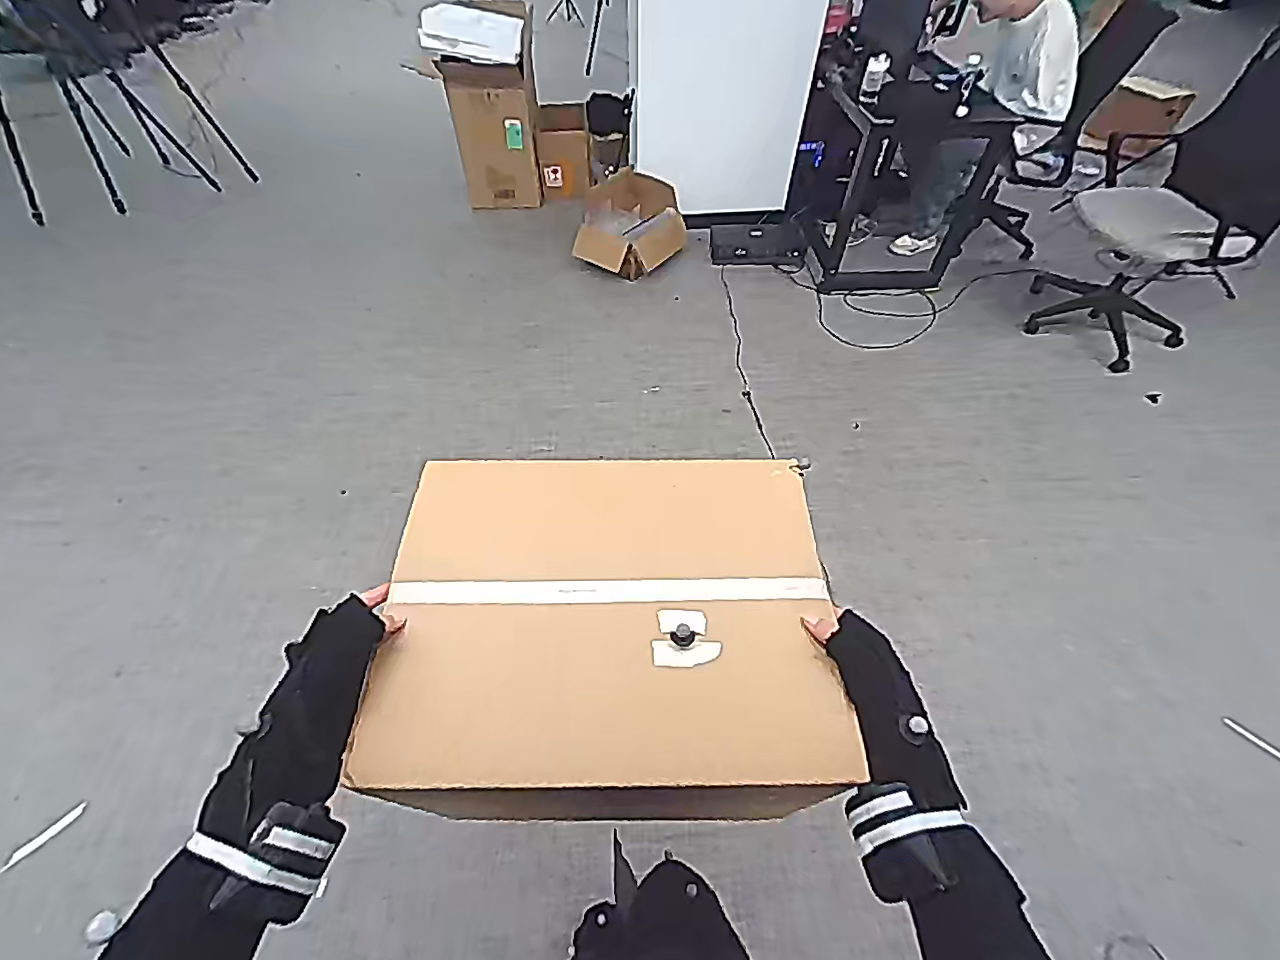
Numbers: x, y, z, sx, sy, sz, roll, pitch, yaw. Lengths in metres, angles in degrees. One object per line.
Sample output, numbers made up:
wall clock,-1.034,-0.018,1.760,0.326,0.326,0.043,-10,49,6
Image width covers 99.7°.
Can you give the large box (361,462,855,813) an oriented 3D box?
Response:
large box,-0.028,0.192,0.635,0.408,0.320,0.320,0,54,0
